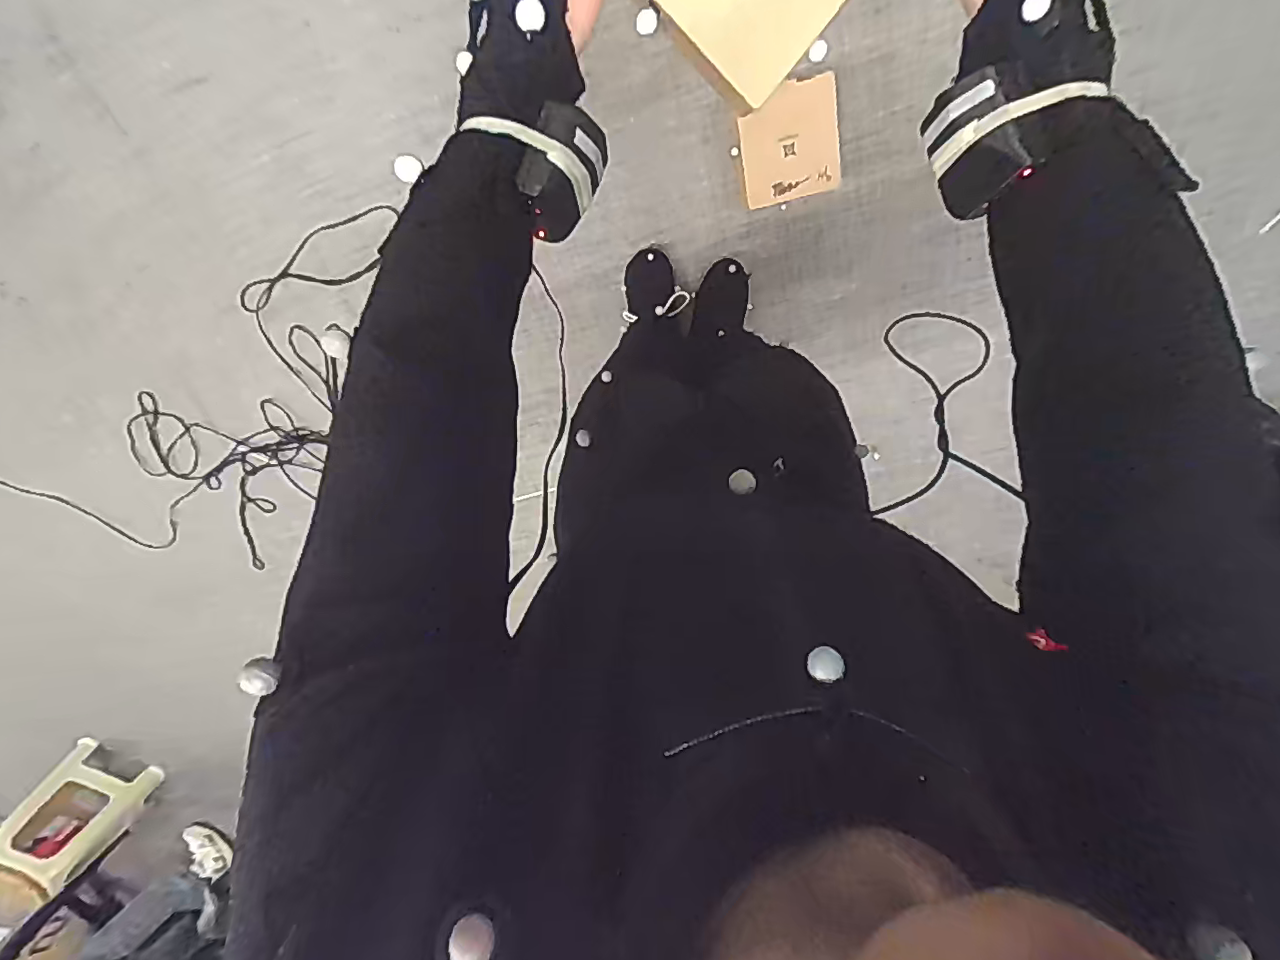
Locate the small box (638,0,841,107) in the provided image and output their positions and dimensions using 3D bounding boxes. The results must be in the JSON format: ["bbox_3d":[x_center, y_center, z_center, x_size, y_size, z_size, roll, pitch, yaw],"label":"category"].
[{"bbox_3d":[0.071,-0.390,0.363,0.179,0.176,0.168,38,119,-15],"label":"small box"}]

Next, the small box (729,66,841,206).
[{"bbox_3d":[0.262,-0.619,0.998,0.168,0.176,0.179,-10,115,11],"label":"small box"}]
